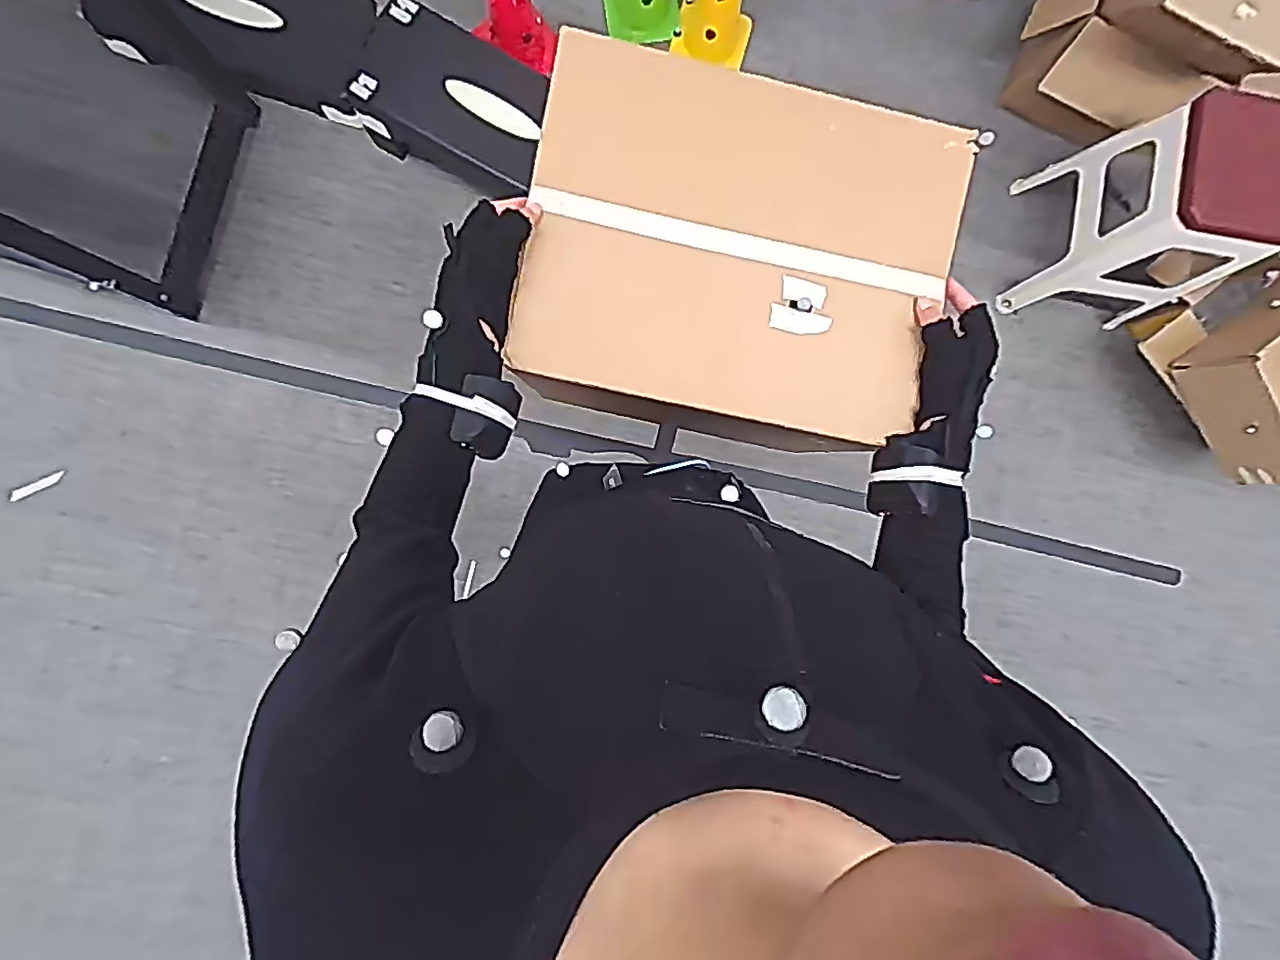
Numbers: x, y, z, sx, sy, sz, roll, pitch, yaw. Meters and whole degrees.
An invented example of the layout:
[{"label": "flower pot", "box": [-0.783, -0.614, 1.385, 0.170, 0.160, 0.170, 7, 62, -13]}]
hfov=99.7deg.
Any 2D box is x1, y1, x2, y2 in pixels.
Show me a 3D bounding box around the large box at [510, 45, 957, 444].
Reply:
[{"label": "large box", "box": [0.083, -0.234, 0.676, 0.408, 0.320, 0.320, 12, 93, -4]}]
